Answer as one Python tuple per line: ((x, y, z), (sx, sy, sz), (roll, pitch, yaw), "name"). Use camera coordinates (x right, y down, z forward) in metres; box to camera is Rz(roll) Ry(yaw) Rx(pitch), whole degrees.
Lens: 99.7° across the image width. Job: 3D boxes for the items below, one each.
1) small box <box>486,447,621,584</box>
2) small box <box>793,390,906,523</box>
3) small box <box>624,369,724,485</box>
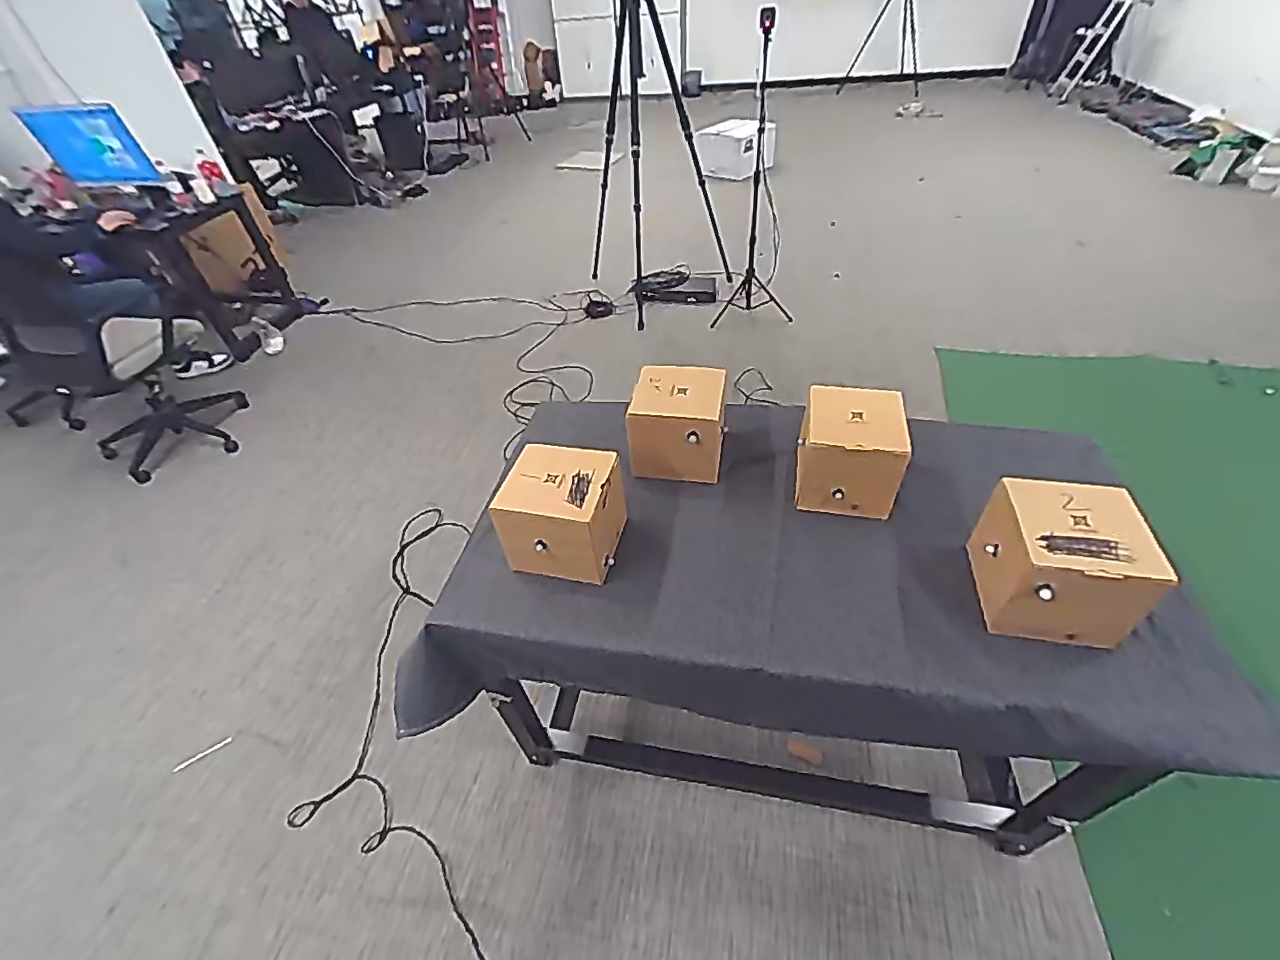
((-0.138, 0.065, 0.955), (0.179, 0.176, 0.168), (7, 45, 13), "small box")
((0.386, -0.046, 1.024), (0.168, 0.176, 0.179), (7, 46, 11), "small box")
((0.075, -0.106, 1.109), (0.179, 0.176, 0.168), (5, 46, 11), "small box")
